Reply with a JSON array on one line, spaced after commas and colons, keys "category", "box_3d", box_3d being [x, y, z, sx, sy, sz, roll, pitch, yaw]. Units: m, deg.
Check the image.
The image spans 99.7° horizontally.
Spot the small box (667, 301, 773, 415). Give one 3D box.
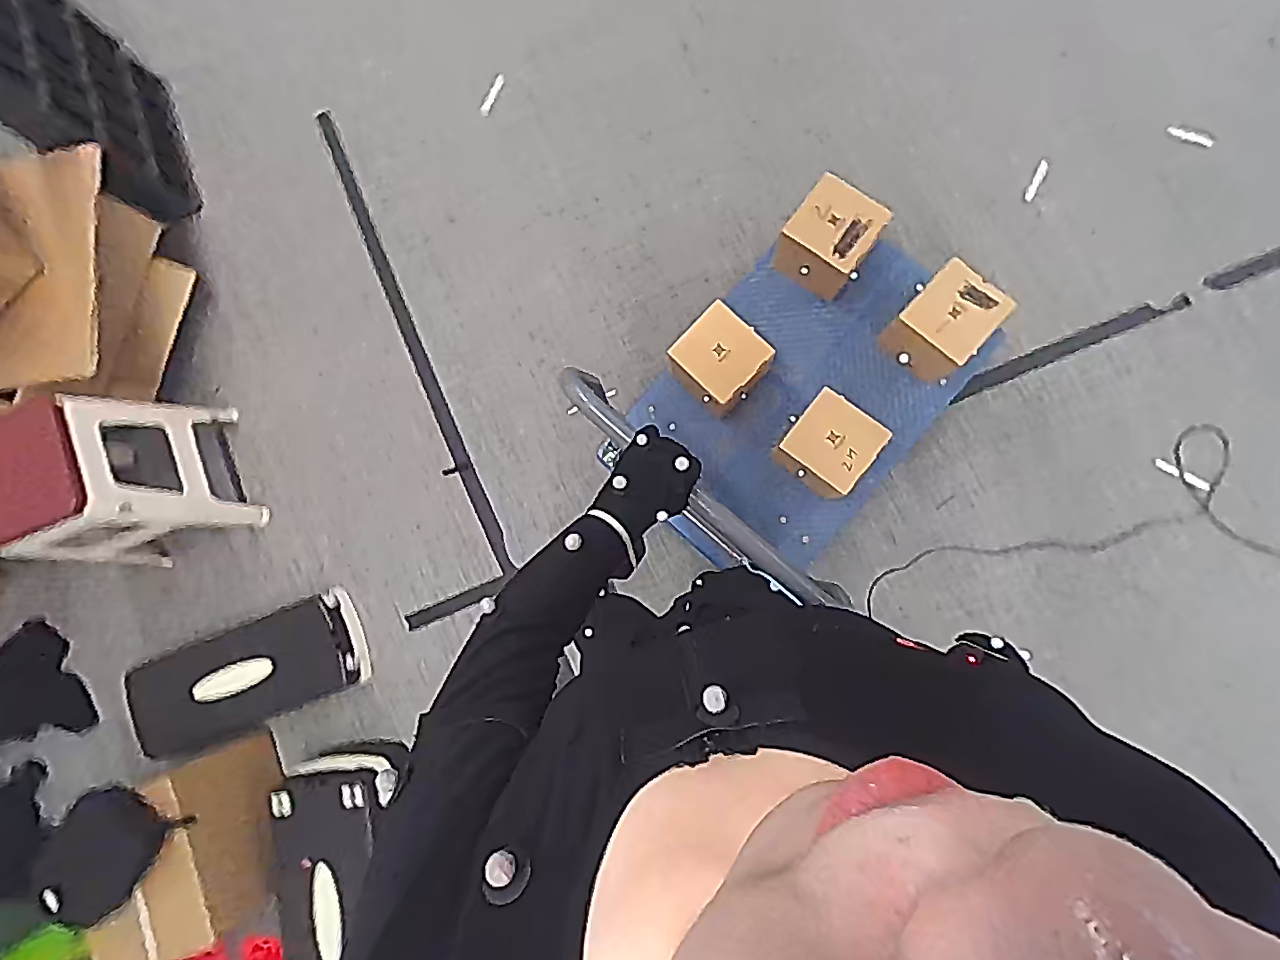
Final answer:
[{"category": "small box", "box_3d": [0.180, -0.274, 1.262, 0.179, 0.176, 0.168, 44, 91, 6]}]

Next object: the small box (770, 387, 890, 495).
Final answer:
[{"category": "small box", "box_3d": [0.416, -0.078, 1.221, 0.179, 0.176, 0.168, 38, 90, 8]}]

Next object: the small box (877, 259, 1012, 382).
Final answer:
[{"category": "small box", "box_3d": [0.669, -0.349, 1.215, 0.168, 0.176, 0.179, 42, 92, 7]}]
